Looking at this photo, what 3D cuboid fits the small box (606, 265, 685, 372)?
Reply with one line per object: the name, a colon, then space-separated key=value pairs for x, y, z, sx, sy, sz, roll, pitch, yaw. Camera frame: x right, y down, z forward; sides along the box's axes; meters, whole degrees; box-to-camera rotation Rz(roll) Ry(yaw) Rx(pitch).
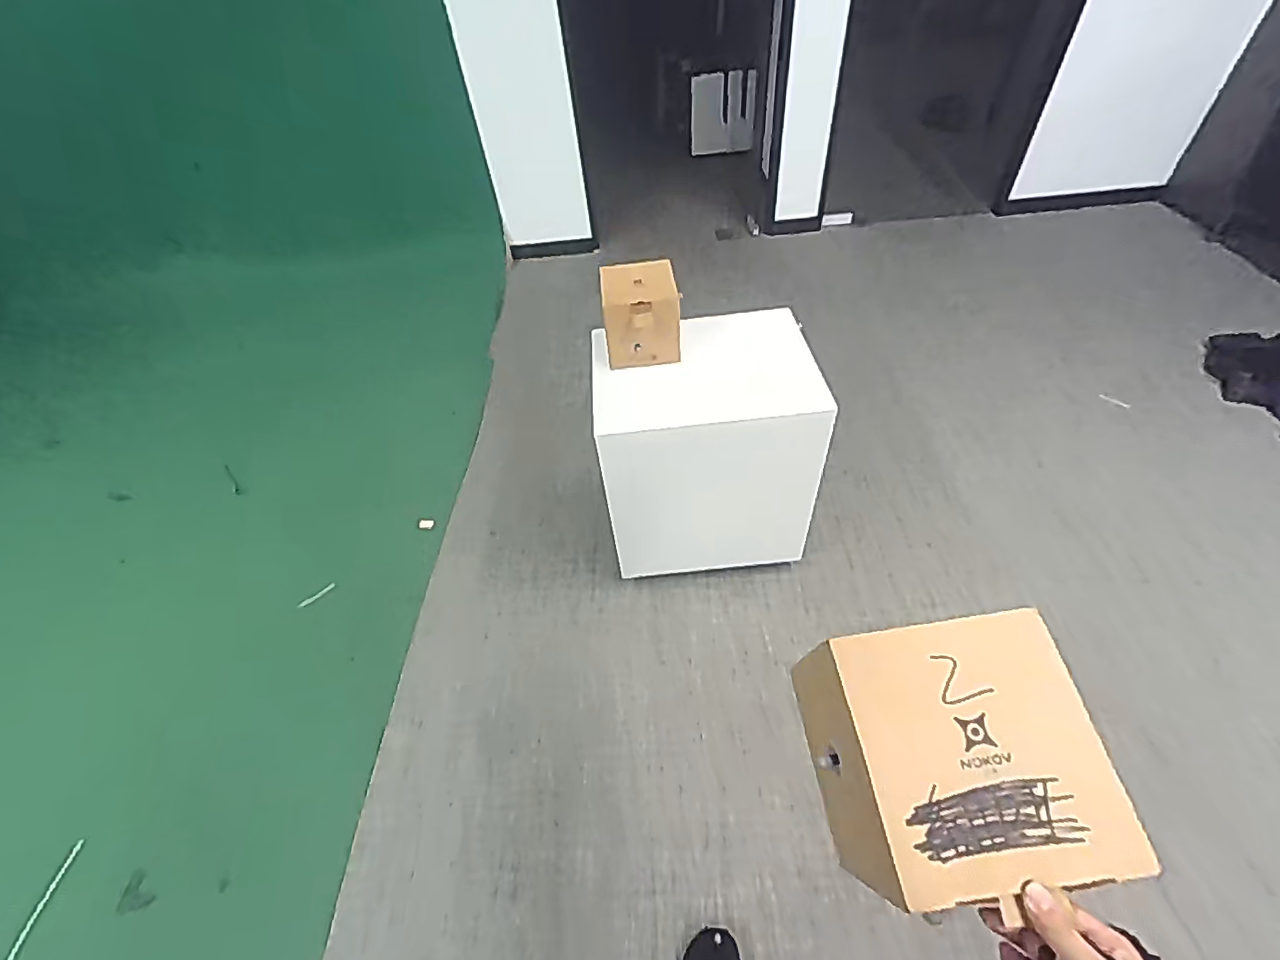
small box: x=0.011 y=-0.374 z=1.254 sx=0.168 sy=0.176 sz=0.179 roll=-6 pitch=49 yaw=0
